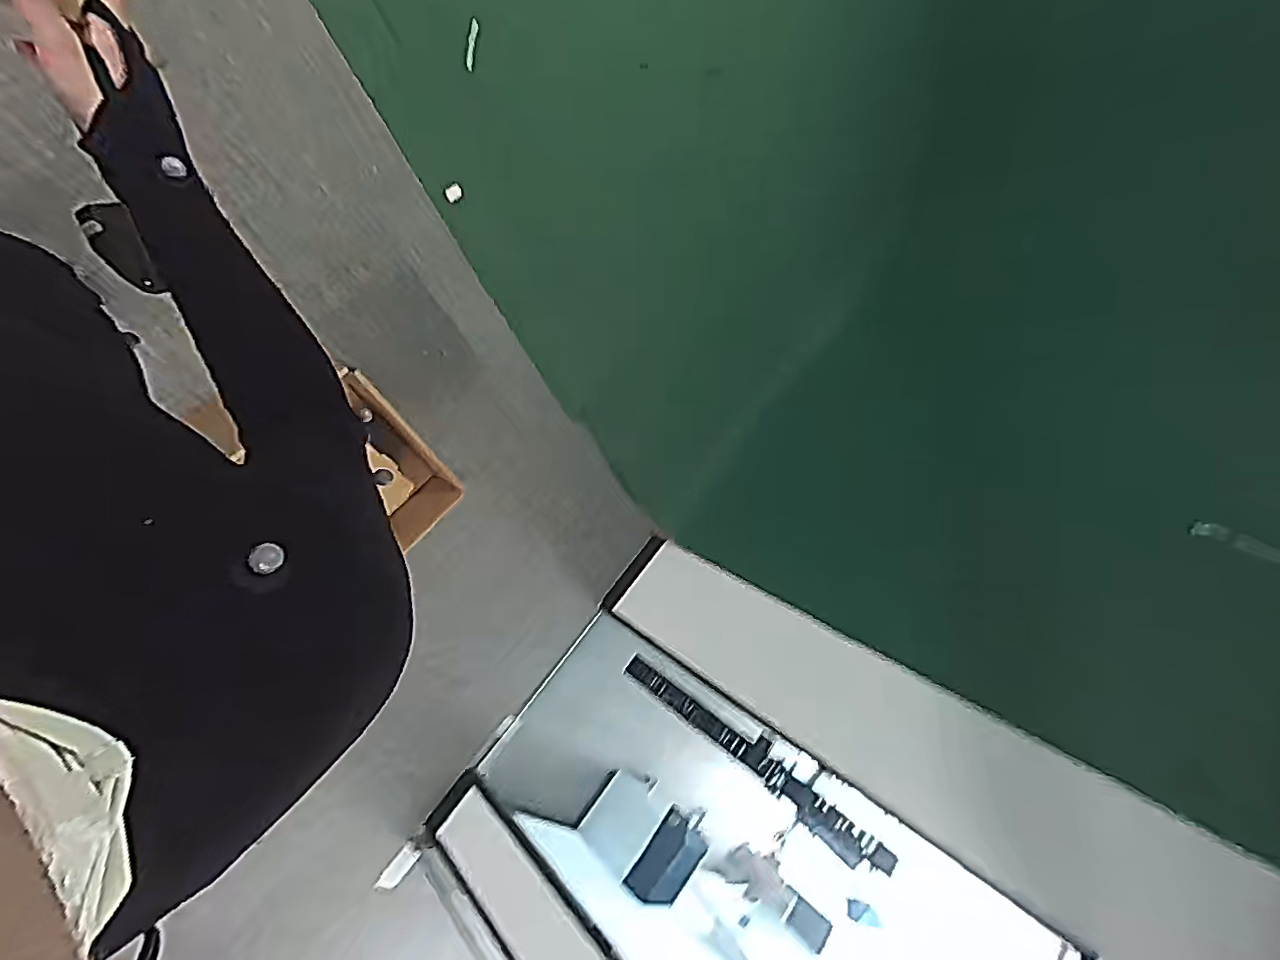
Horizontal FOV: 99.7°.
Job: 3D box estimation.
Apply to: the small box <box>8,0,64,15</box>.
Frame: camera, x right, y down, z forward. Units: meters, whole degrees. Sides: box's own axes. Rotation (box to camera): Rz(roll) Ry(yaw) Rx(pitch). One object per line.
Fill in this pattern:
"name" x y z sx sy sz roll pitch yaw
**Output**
"small box" -0.497 -0.443 0.337 0.179 0.176 0.168 -2 118 -56
